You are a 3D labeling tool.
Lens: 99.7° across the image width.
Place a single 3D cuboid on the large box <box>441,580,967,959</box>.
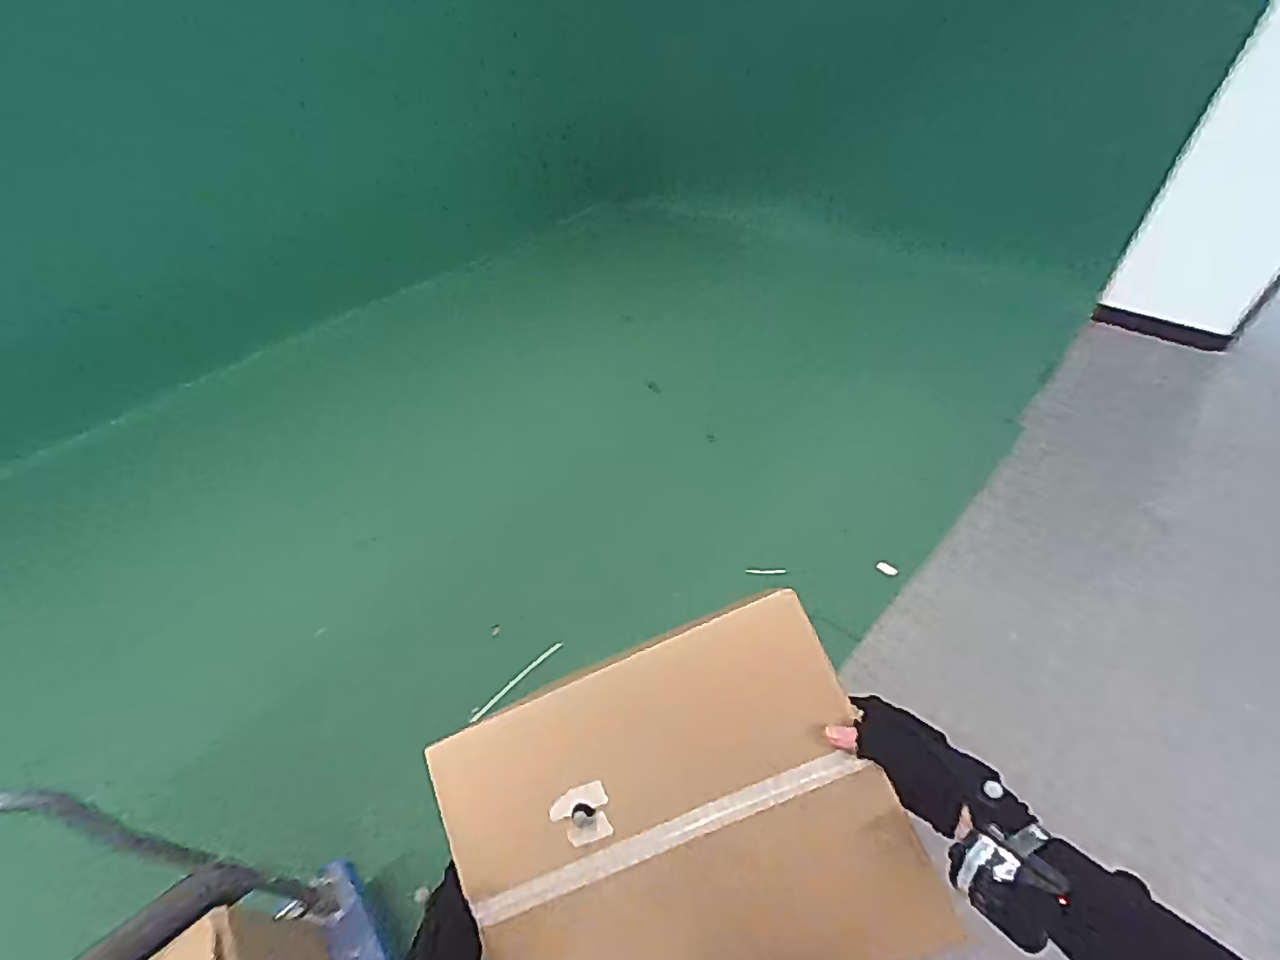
[{"bbox_3d":[0.062,0.339,0.636,0.408,0.320,0.320,-25,76,6],"label":"large box"}]
